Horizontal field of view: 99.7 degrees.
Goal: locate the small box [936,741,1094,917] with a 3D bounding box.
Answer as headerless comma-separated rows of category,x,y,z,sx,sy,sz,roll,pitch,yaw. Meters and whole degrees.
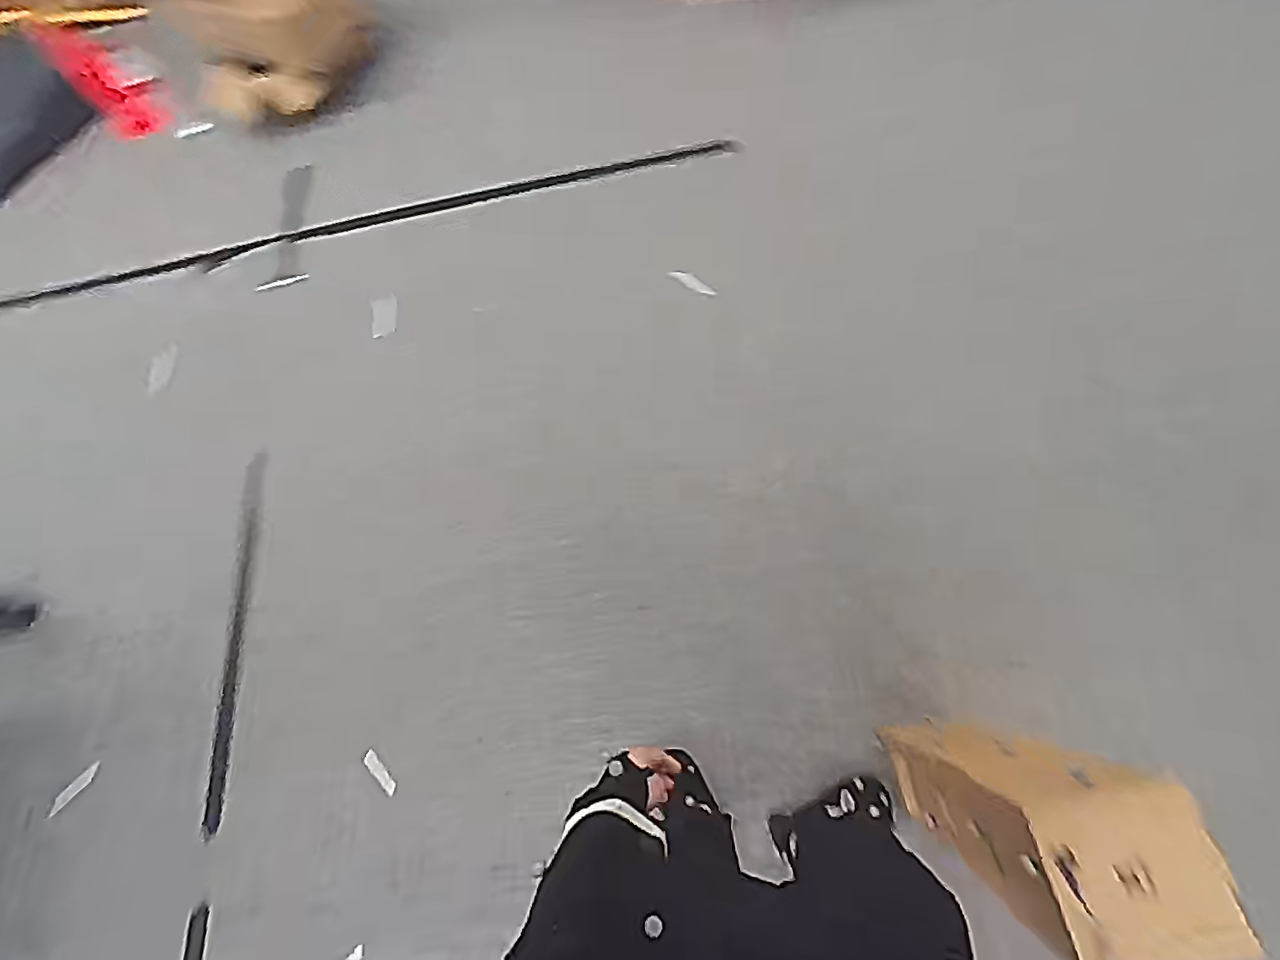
small box,0.575,0.506,0.804,0.168,0.176,0.179,-11,71,6

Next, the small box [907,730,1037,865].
small box,0.597,0.552,0.958,0.179,0.176,0.168,-10,72,4

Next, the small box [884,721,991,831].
small box,0.620,0.599,1.111,0.179,0.176,0.168,-10,71,5

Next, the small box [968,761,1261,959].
small box,0.542,0.453,0.652,0.179,0.176,0.168,-11,71,5
